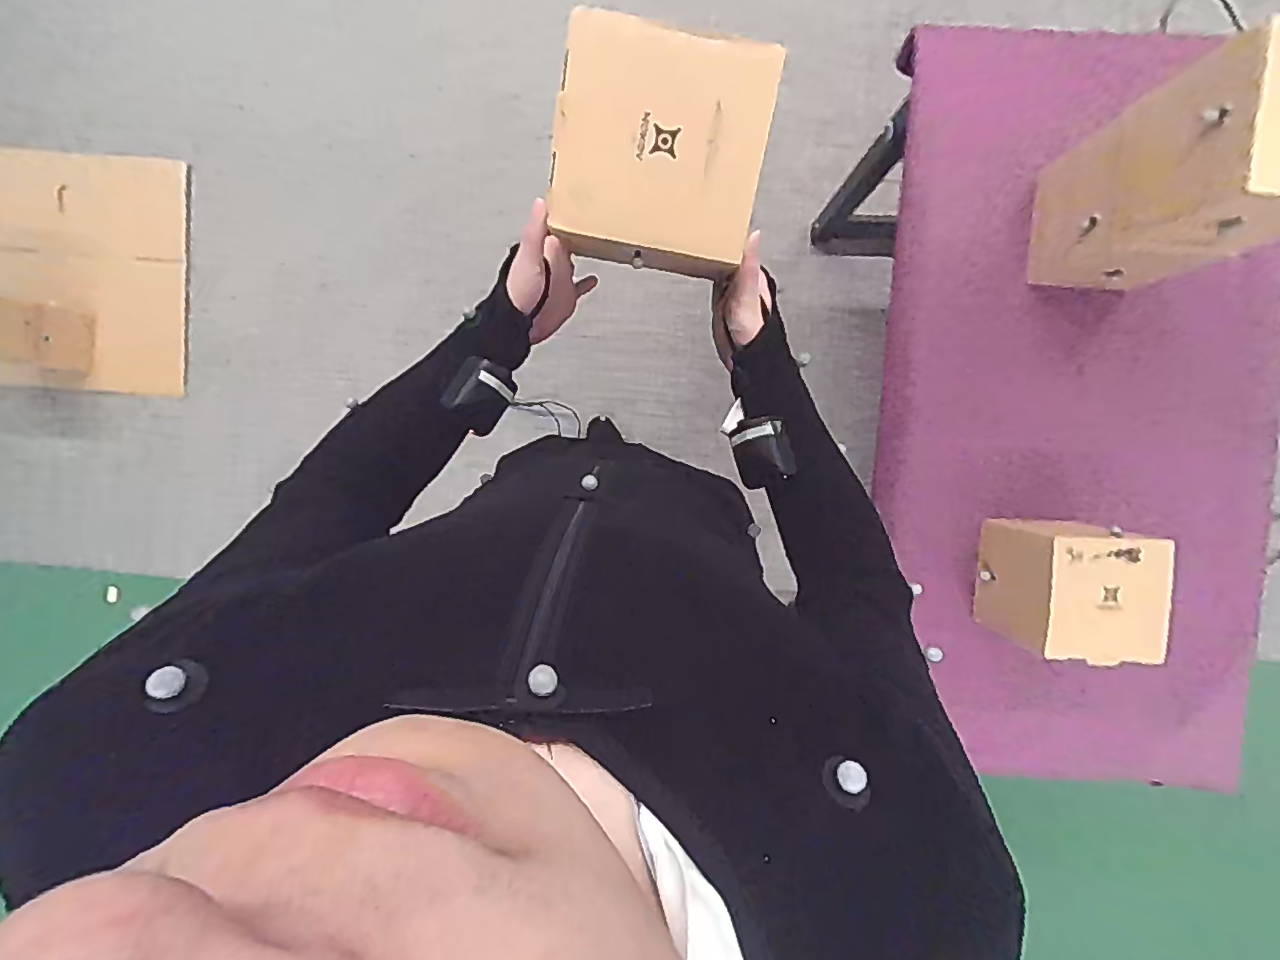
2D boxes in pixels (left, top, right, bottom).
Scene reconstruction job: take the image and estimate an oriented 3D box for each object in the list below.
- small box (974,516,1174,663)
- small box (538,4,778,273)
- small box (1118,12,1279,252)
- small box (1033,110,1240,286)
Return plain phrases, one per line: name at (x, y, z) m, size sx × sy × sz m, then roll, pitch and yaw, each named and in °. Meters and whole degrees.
small box at (0.644, 0.158, 0.827) m, size 0.168 × 0.176 × 0.179 m, roll 3°, pitch 95°, yaw 1°
small box at (0.014, -0.306, 0.526) m, size 0.179 × 0.176 × 0.168 m, roll 11°, pitch 106°, yaw -1°
small box at (0.704, -0.378, 0.619) m, size 0.168 × 0.176 × 0.179 m, roll 4°, pitch 94°, yaw 2°
small box at (0.711, -0.391, 0.780) m, size 0.168 × 0.176 × 0.179 m, roll 4°, pitch 95°, yaw 1°
